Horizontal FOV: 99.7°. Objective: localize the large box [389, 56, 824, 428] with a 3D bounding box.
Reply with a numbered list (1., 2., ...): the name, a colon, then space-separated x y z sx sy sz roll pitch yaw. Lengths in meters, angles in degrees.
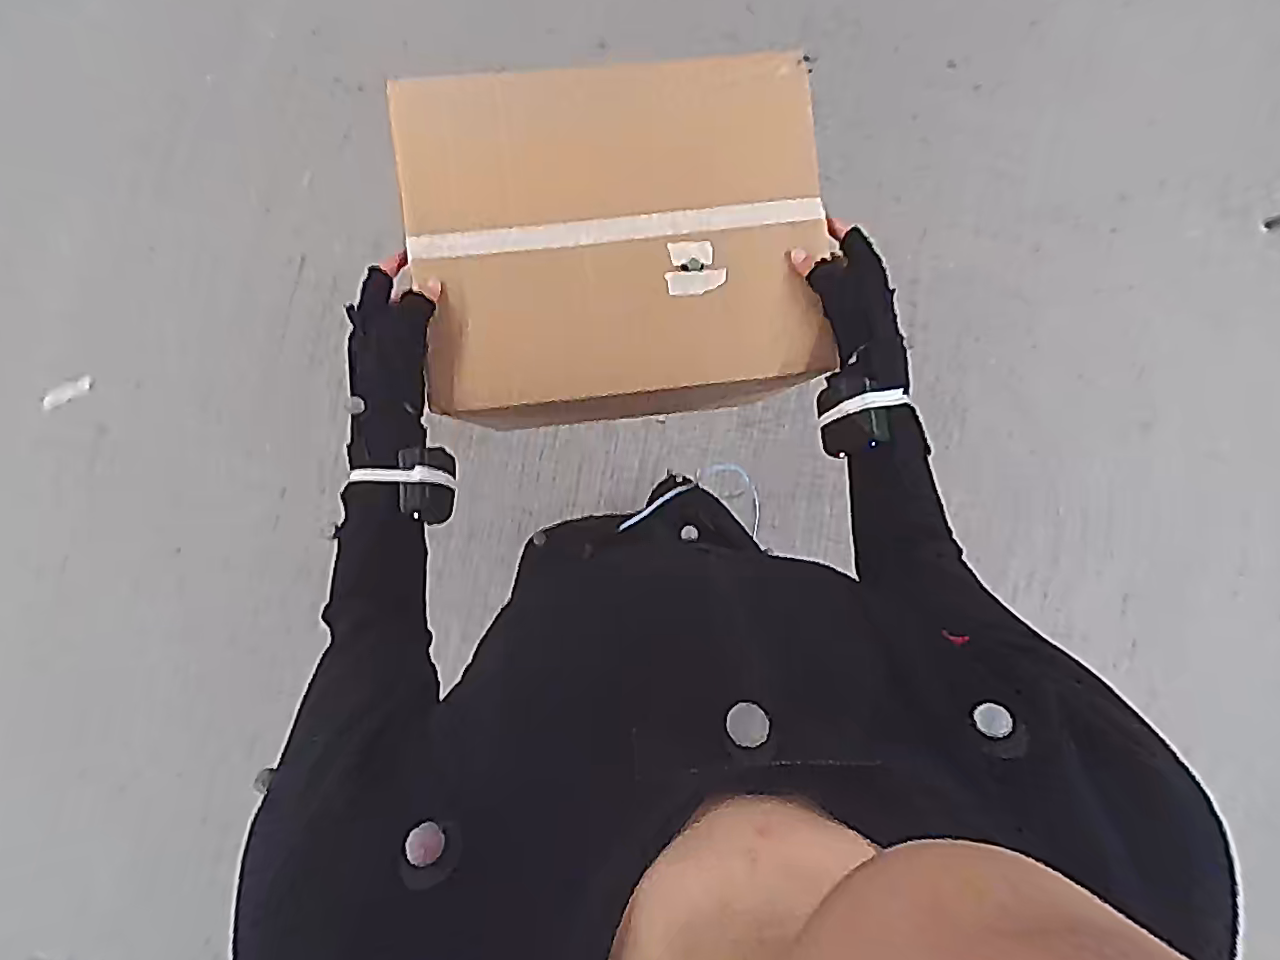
1. large box: -0.038 -0.252 0.684 0.408 0.320 0.320 -8 93 -4
